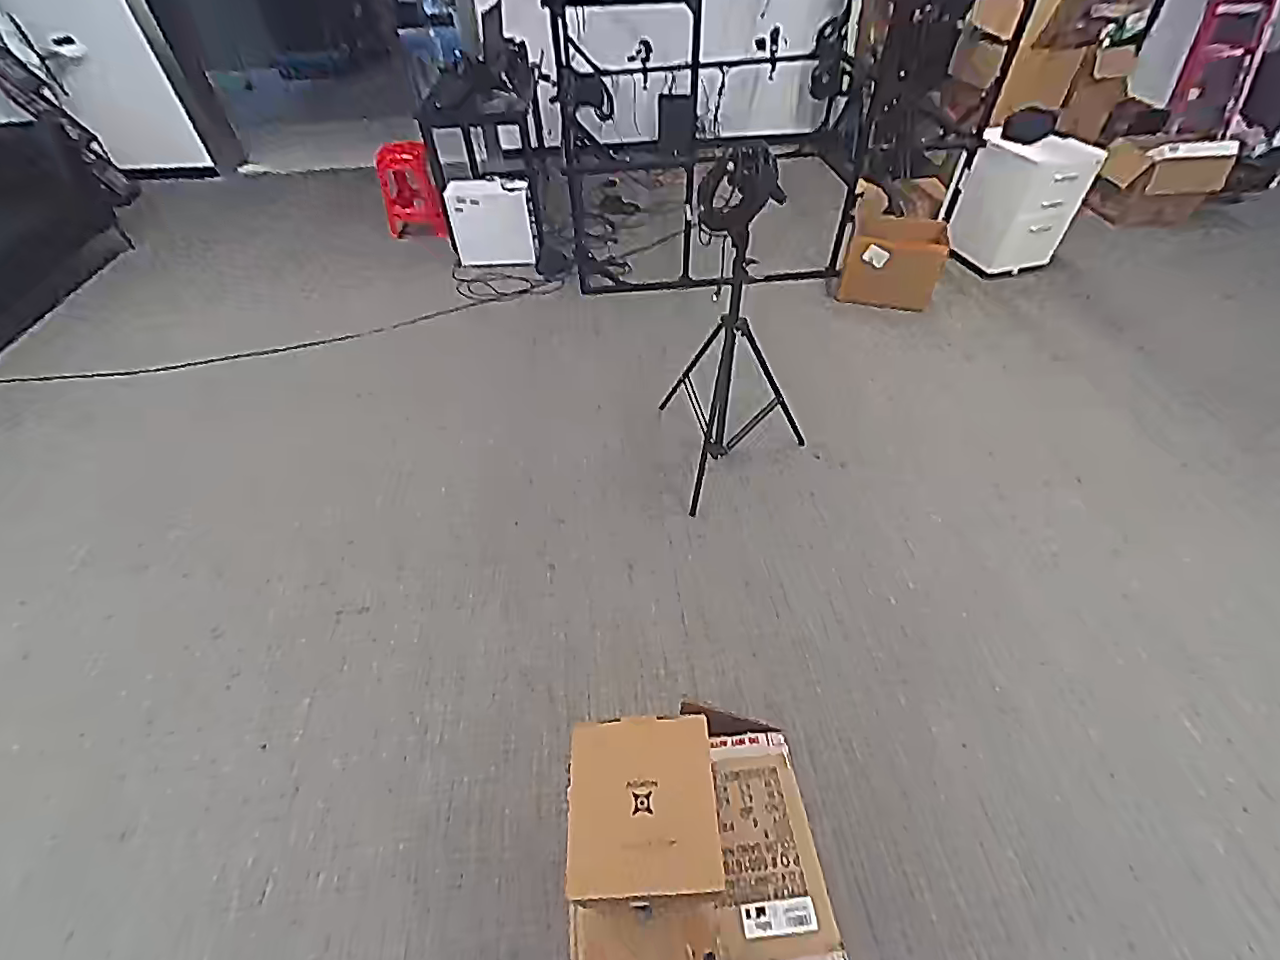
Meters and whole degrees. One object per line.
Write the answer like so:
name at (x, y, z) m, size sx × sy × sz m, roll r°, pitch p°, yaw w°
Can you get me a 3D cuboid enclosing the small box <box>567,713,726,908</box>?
small box at (0.007, 0.405, 0.662) m, size 0.168 × 0.176 × 0.179 m, roll -5°, pitch 50°, yaw 1°
